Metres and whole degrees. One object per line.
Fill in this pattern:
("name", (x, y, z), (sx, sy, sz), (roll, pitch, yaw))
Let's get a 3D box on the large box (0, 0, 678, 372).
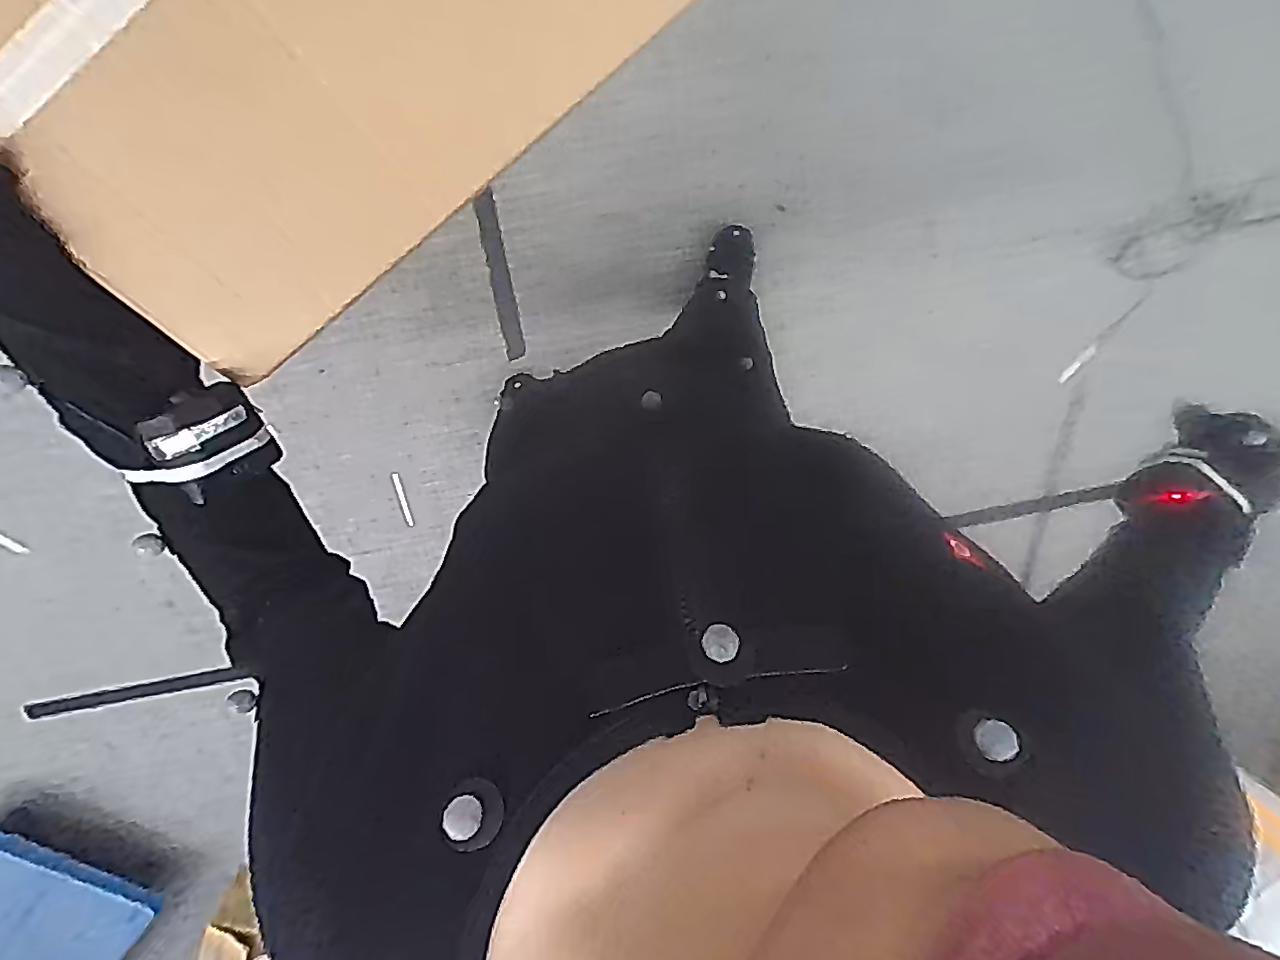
("large box", (-0.226, -0.353, 0.386), (0.408, 0.320, 0.320), (-38, 121, 5))
